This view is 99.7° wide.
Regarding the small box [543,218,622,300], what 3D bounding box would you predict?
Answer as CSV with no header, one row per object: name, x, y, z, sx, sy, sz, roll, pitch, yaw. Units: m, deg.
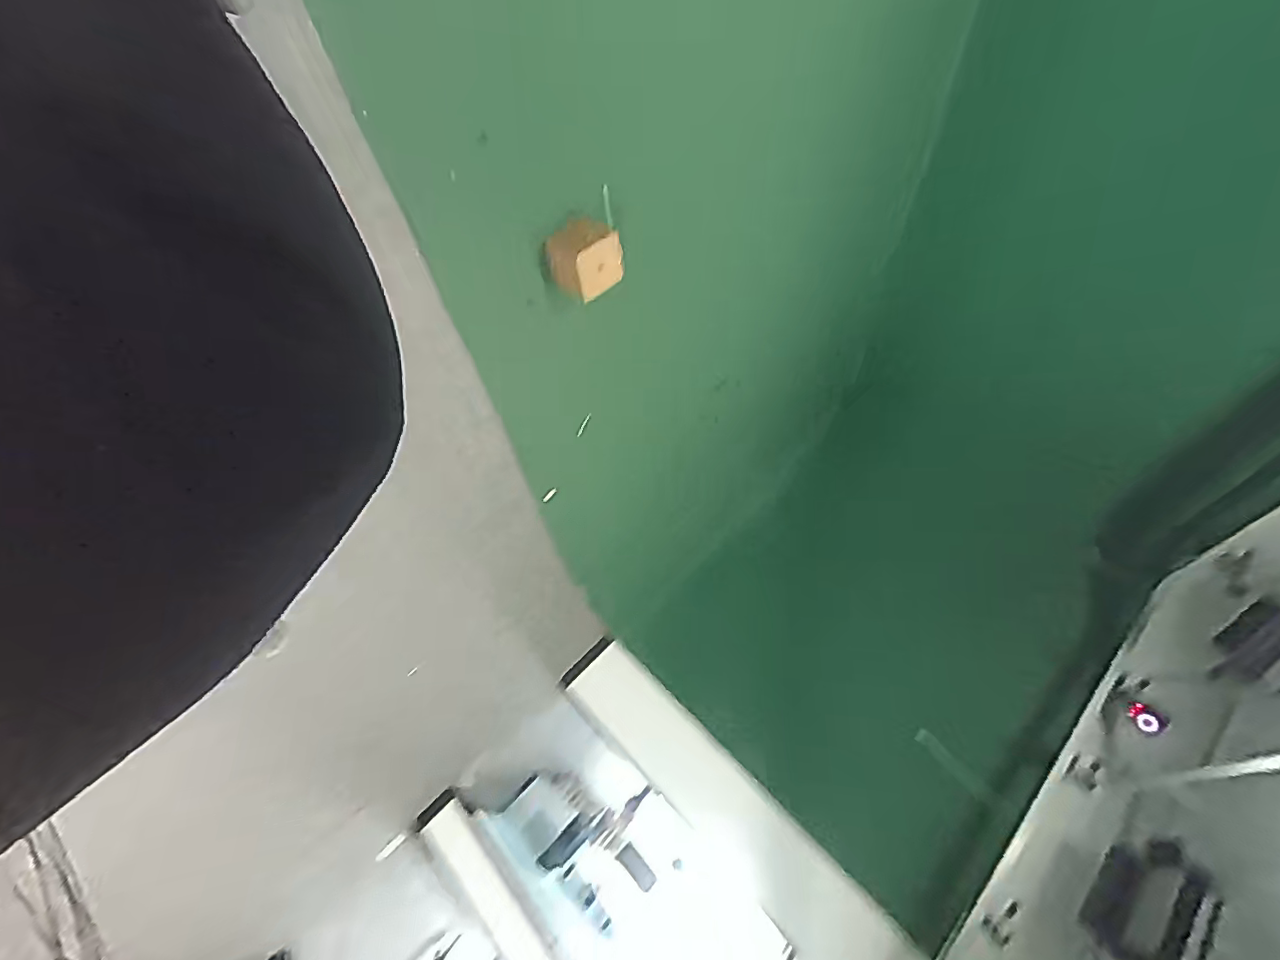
small box,-0.184,-0.721,1.751,0.179,0.176,0.168,-40,148,-22
